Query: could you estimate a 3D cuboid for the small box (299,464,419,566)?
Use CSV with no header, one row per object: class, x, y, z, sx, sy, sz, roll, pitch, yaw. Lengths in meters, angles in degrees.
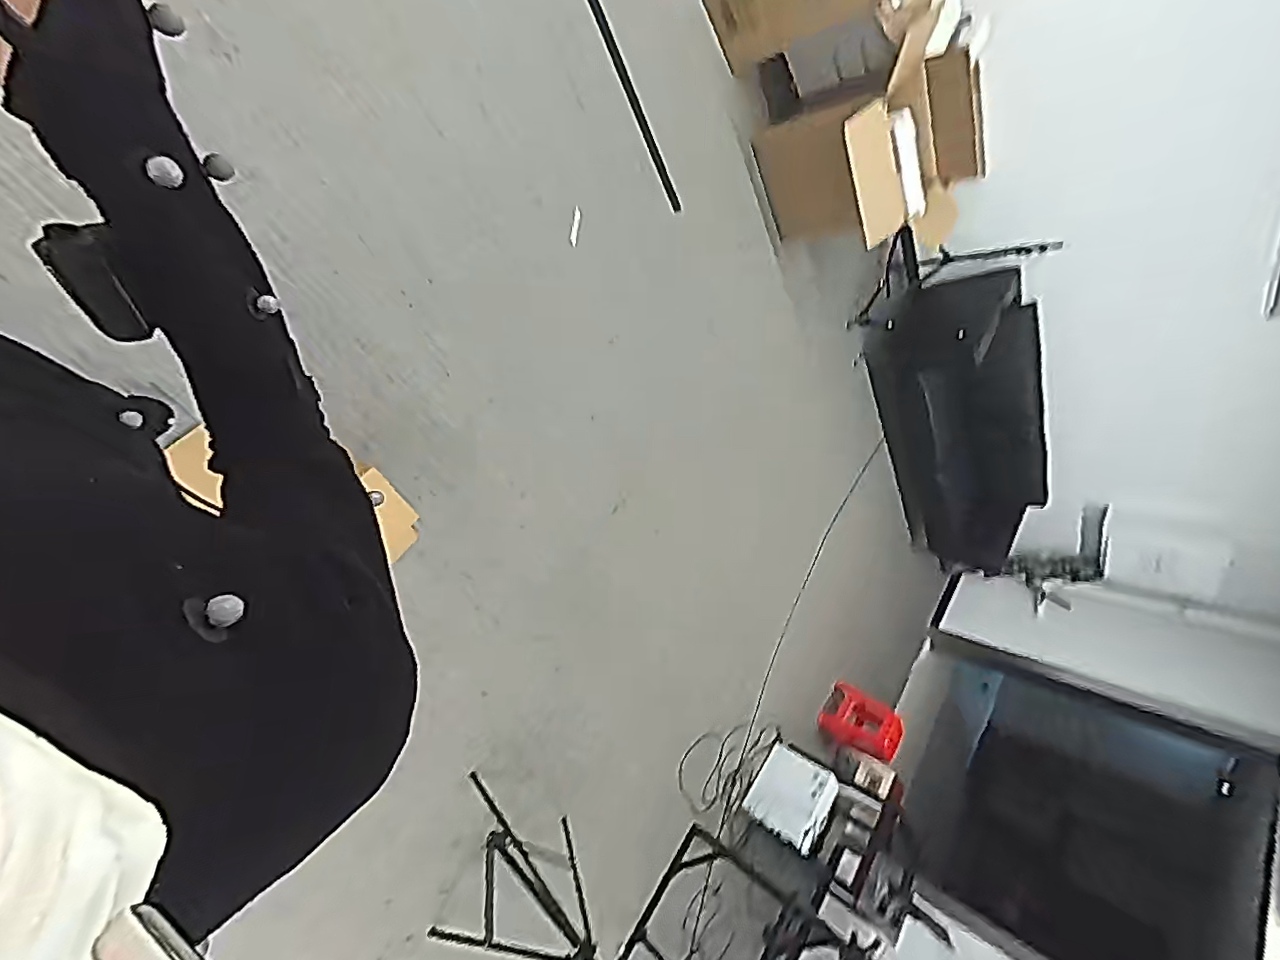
small box,-0.686,0.078,1.318,0.168,0.176,0.179,-48,128,-27
